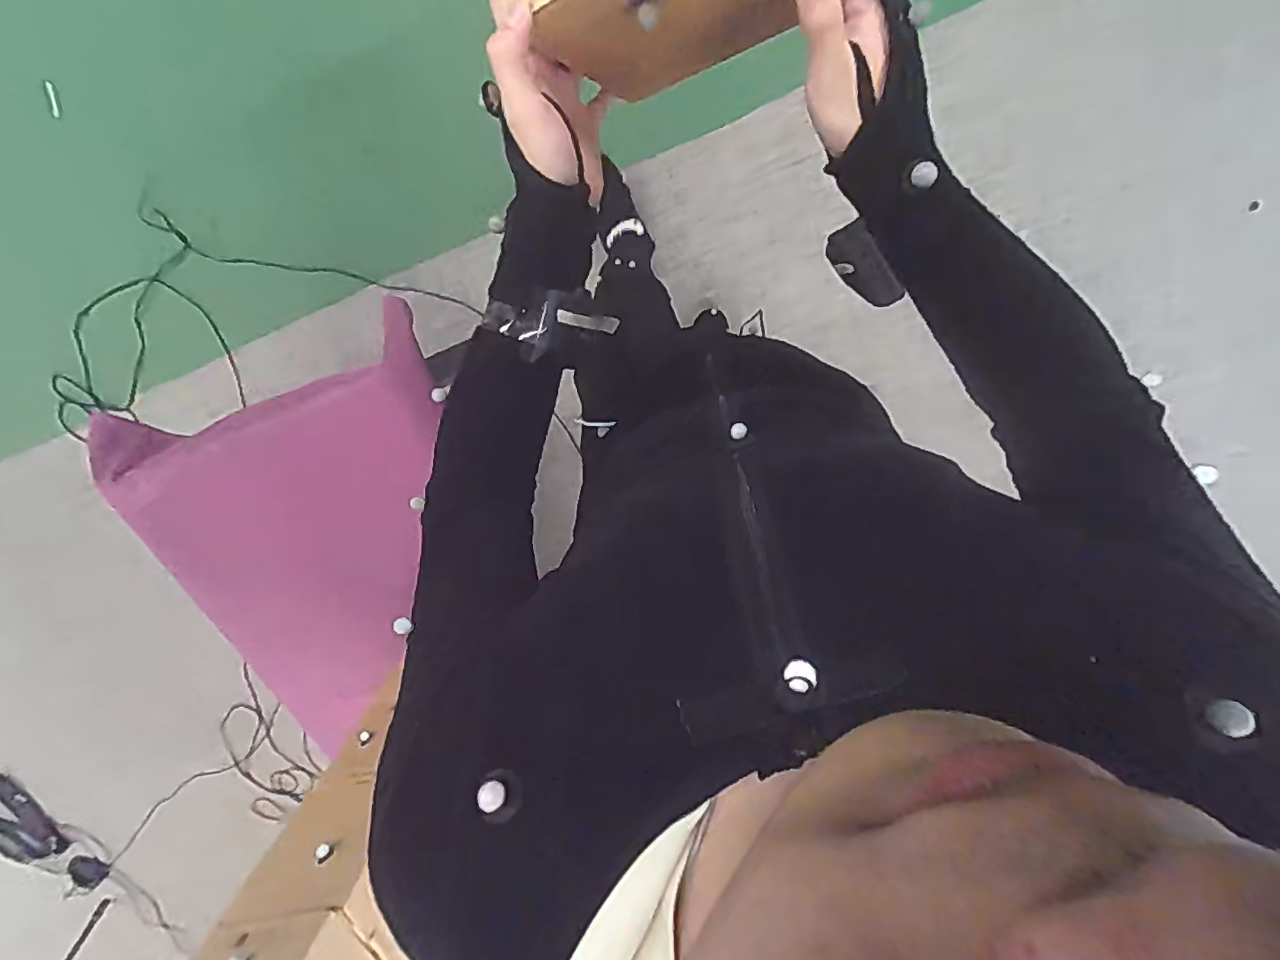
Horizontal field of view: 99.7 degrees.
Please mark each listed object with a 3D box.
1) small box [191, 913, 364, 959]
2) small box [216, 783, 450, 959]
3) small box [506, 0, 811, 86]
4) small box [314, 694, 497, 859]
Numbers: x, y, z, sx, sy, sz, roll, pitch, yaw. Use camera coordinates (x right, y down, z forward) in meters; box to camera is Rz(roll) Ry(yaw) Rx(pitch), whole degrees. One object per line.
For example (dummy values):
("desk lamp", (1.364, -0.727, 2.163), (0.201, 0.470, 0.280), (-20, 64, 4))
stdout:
("small box", (-0.382, 0.582, 0.539), (0.168, 0.176, 0.179), (-17, 108, 11))
("small box", (-0.367, 0.520, 0.692), (0.179, 0.176, 0.168), (-15, 109, 10))
("small box", (0.016, -0.386, 0.333), (0.179, 0.176, 0.168), (-4, 107, 31))
("small box", (-0.349, 0.458, 0.841), (0.168, 0.176, 0.179), (-15, 110, 10))
